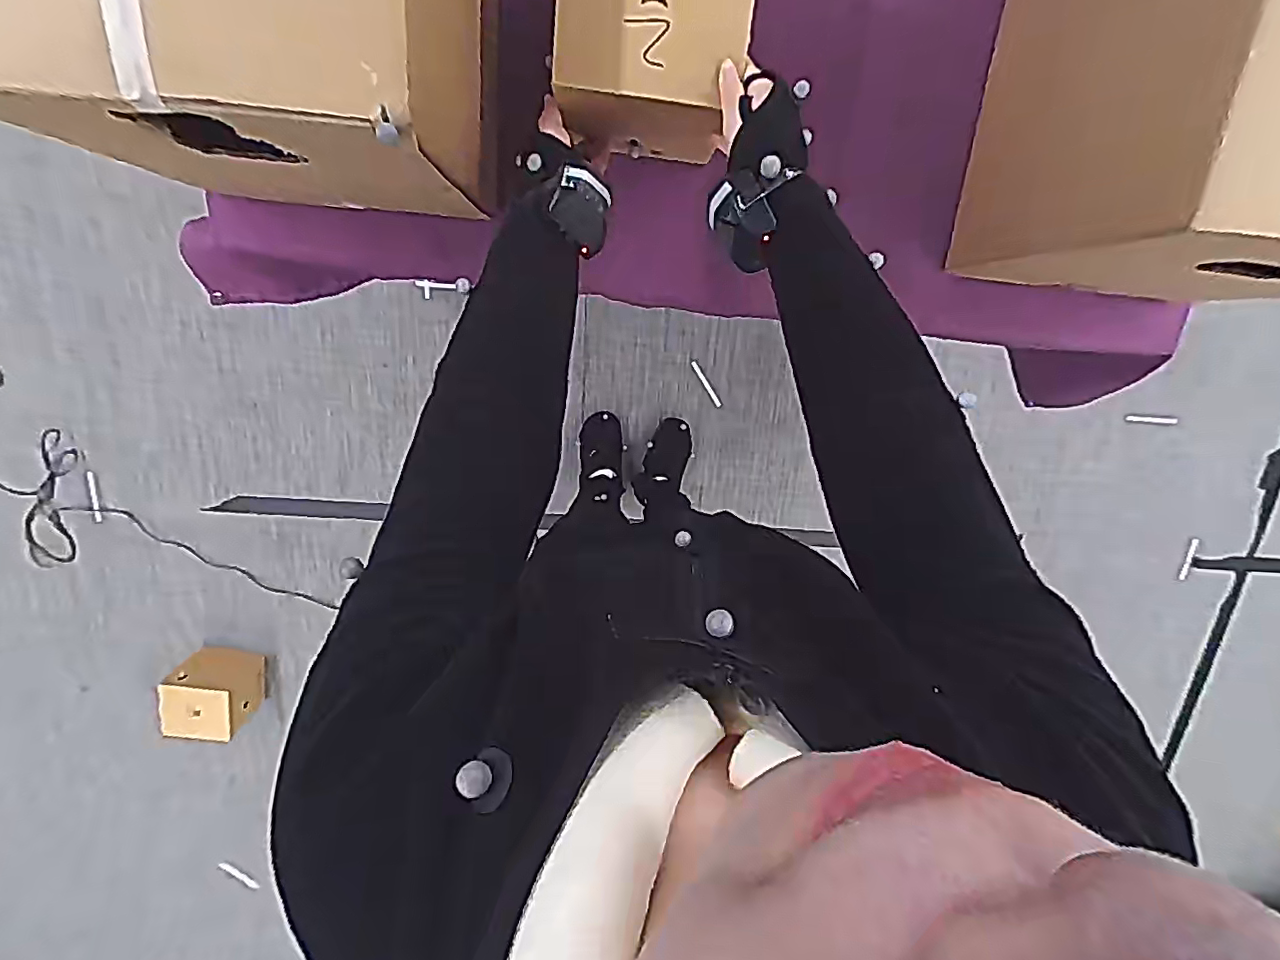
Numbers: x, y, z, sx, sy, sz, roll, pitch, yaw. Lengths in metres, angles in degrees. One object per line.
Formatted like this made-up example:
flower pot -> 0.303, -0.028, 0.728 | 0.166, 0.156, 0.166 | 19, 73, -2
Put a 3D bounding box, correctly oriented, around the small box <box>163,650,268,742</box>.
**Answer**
small box -> -1.172, 0.597, 1.509 | 0.179, 0.176, 0.168 | 9, 106, -6
